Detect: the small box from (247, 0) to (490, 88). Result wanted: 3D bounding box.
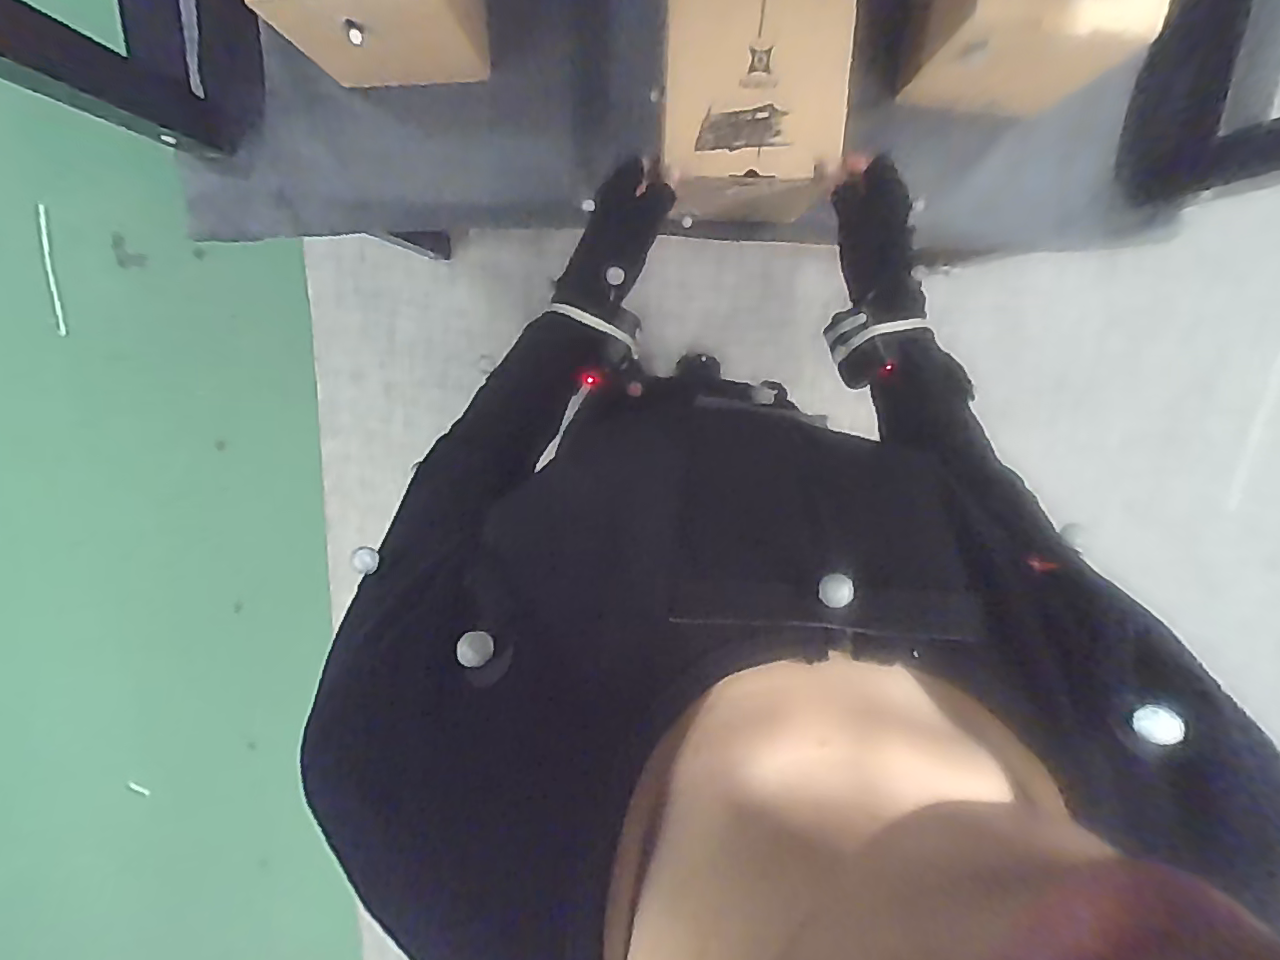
[{"bbox_3d":[-0.264,-0.520,0.540,0.179,0.176,0.168,-1,104,1],"label":"small box"}]

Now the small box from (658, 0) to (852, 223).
[{"bbox_3d":[0.104,-0.380,0.567,0.168,0.176,0.179,2,103,0],"label":"small box"}]
